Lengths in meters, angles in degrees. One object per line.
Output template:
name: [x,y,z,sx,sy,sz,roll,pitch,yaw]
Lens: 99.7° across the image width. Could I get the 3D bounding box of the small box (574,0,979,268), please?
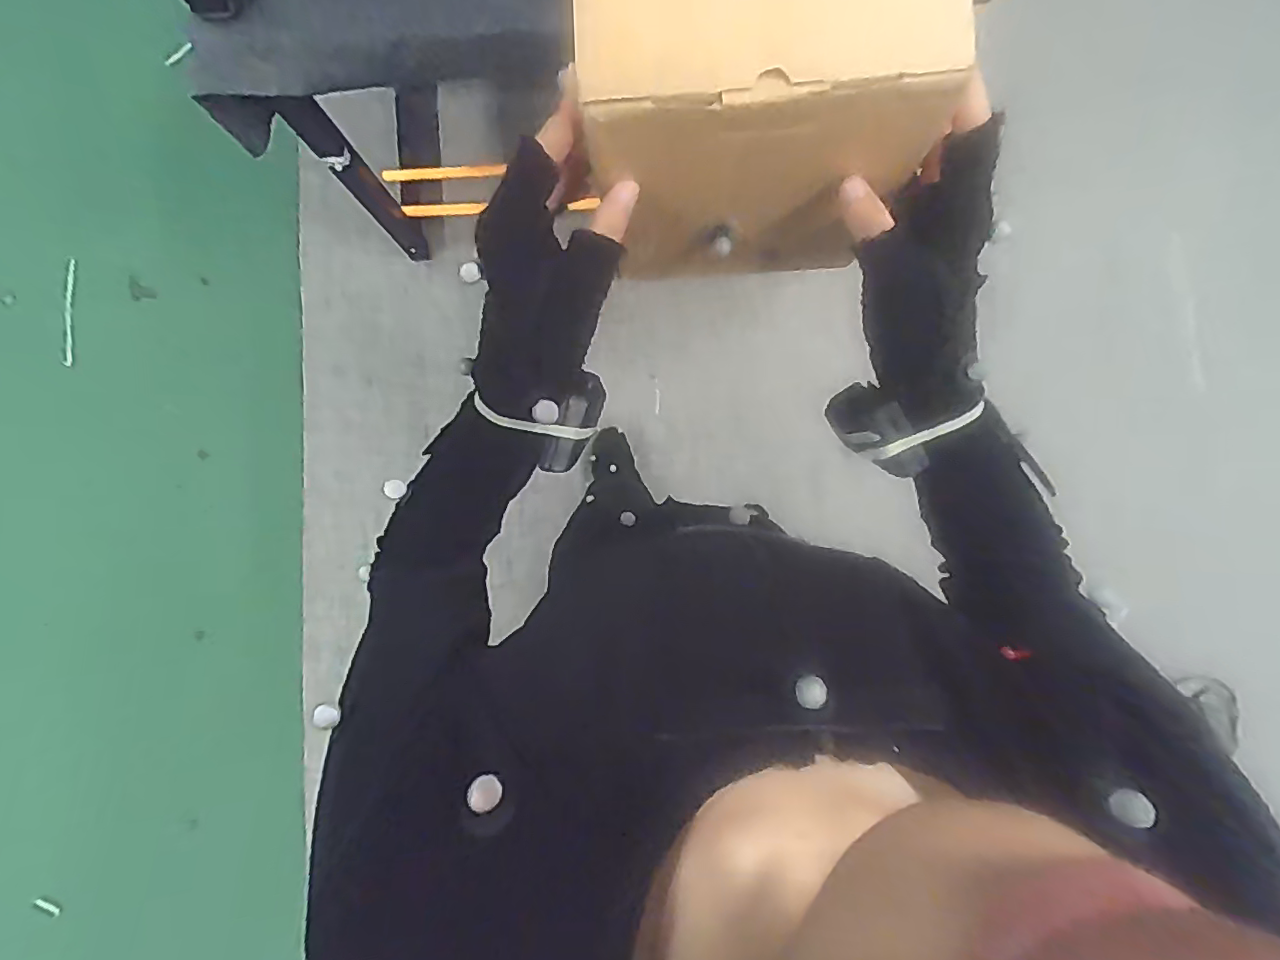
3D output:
small box: [0.056,-0.247,0.308,0.168,0.176,0.179,-3,85,4]
